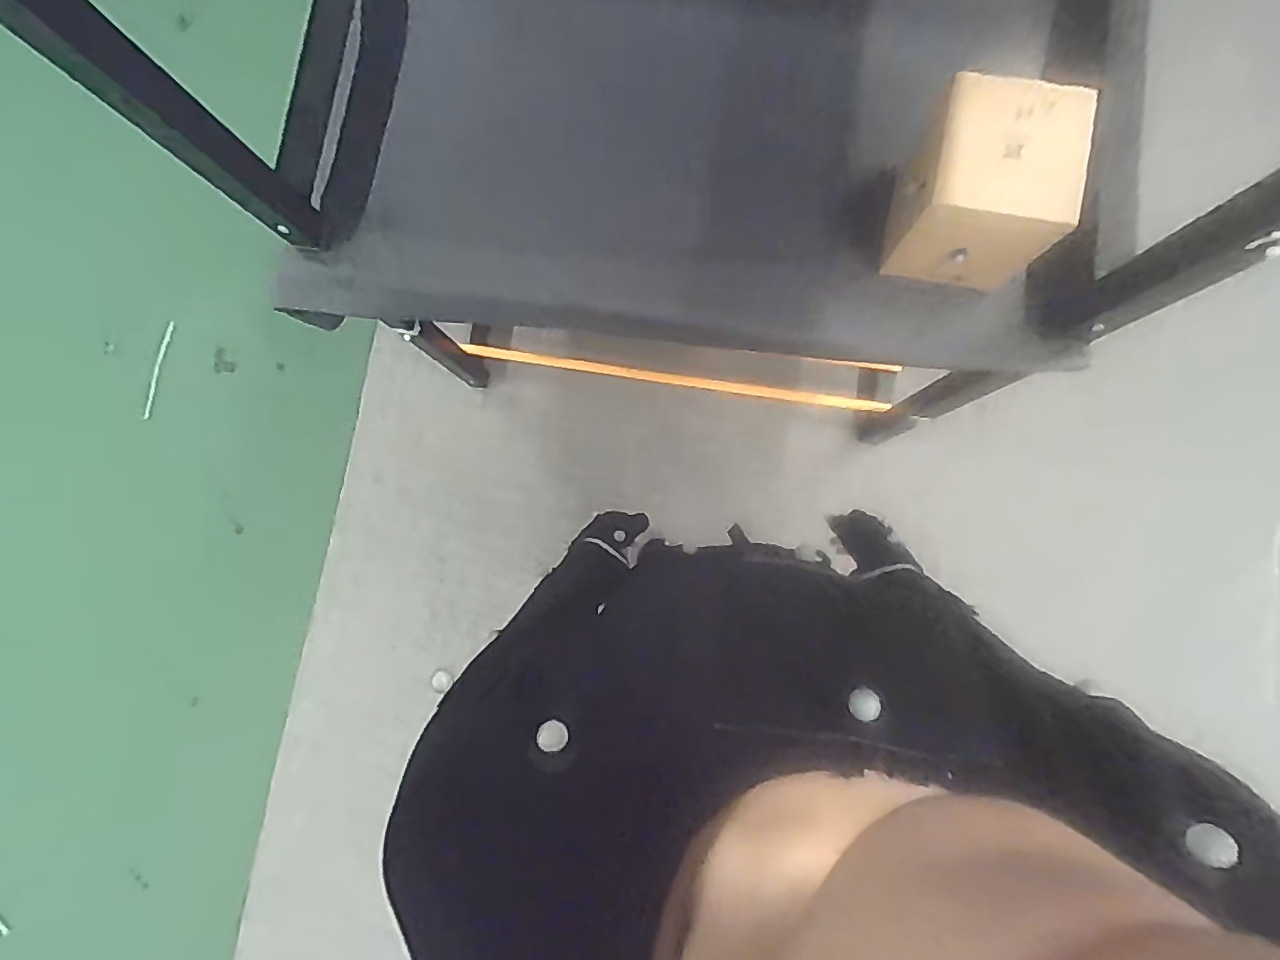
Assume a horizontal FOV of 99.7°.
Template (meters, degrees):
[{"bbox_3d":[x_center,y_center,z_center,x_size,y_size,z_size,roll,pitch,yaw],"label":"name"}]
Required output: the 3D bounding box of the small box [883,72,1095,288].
[{"bbox_3d":[0.441,-0.379,0.711,0.168,0.176,0.179,12,84,5],"label":"small box"}]
